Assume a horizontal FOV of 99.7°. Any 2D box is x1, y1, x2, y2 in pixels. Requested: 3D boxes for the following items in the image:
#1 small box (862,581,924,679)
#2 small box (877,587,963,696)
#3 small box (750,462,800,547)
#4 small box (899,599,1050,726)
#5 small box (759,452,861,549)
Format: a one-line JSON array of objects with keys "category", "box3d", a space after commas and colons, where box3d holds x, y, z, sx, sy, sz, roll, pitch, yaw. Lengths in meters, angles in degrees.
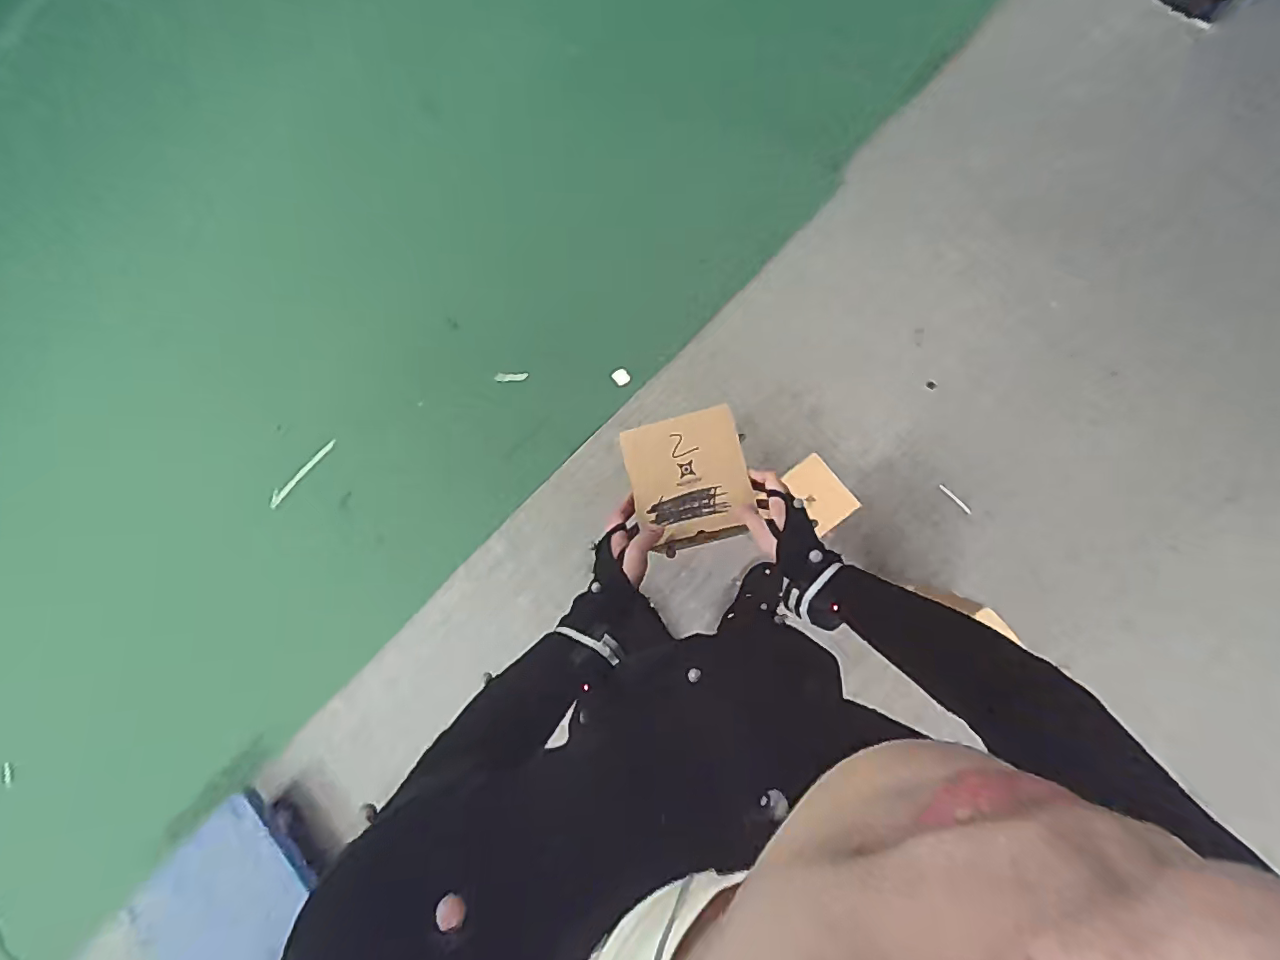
[{"category": "small box", "box3d": [0.715, 0.391, 1.437, 0.179, 0.176, 0.168, -42, 80, 5]}, {"category": "small box", "box3d": [0.695, 0.370, 1.275, 0.179, 0.176, 0.168, -37, 79, 5]}, {"category": "small box", "box3d": [0.429, 0.072, 1.530, 0.179, 0.176, 0.168, -39, 81, 4]}, {"category": "small box", "box3d": [0.672, 0.361, 1.114, 0.168, 0.176, 0.179, -38, 80, 5]}, {"category": "small box", "box3d": [0.414, 0.052, 1.353, 0.179, 0.176, 0.168, -39, 80, 5]}]
